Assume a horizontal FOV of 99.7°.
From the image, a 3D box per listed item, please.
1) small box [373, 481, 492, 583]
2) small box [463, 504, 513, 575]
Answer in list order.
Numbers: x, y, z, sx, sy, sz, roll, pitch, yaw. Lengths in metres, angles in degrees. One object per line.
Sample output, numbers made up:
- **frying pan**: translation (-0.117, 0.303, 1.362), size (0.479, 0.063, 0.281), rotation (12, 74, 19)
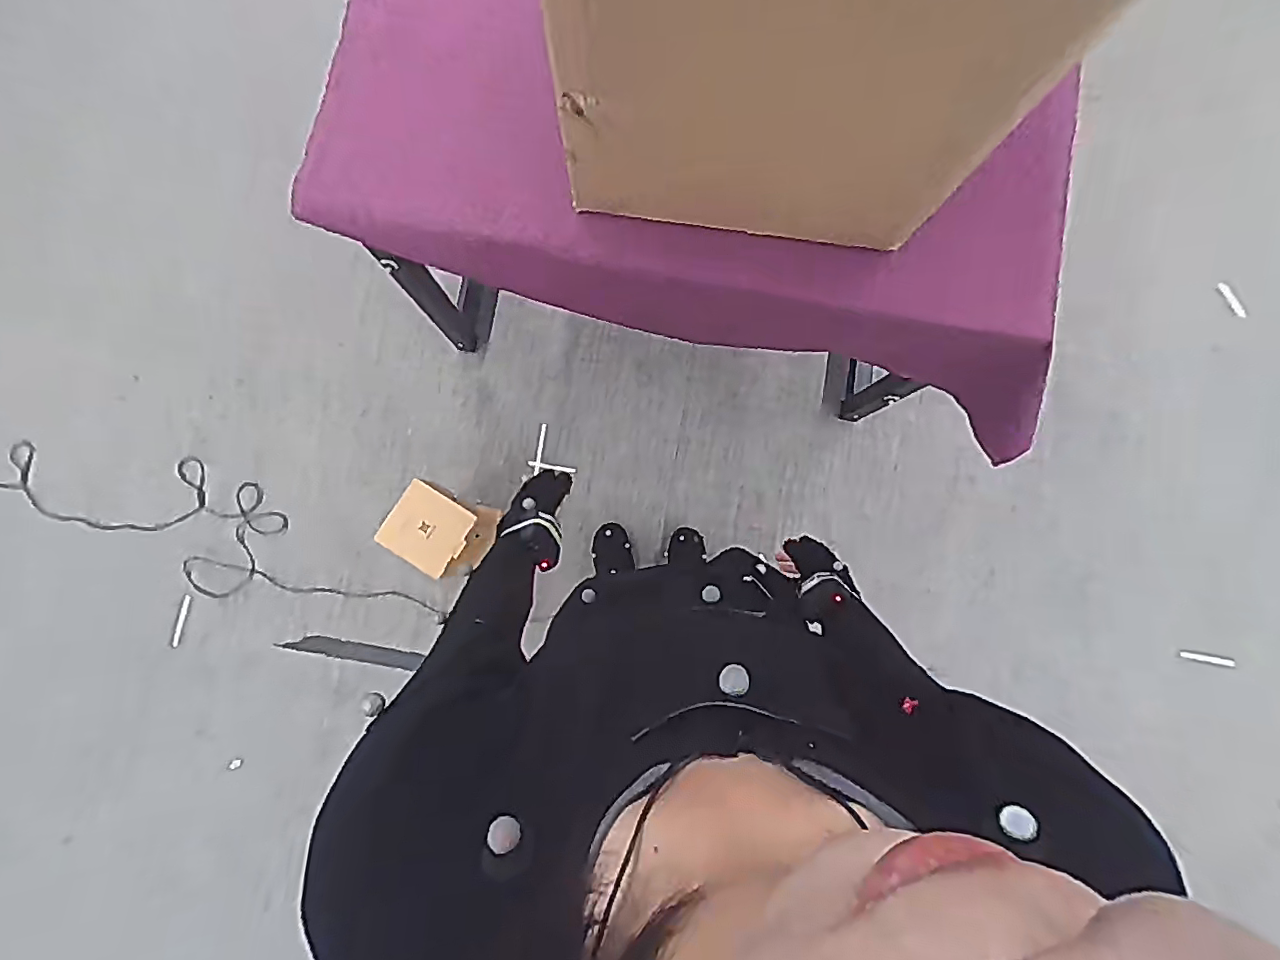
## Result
- **small box**: translation (-0.474, 0.121, 1.272), size (0.179, 0.176, 0.168), rotation (31, 83, 3)
- **small box**: translation (-0.452, 0.150, 1.433), size (0.179, 0.176, 0.168), rotation (12, 84, -1)
